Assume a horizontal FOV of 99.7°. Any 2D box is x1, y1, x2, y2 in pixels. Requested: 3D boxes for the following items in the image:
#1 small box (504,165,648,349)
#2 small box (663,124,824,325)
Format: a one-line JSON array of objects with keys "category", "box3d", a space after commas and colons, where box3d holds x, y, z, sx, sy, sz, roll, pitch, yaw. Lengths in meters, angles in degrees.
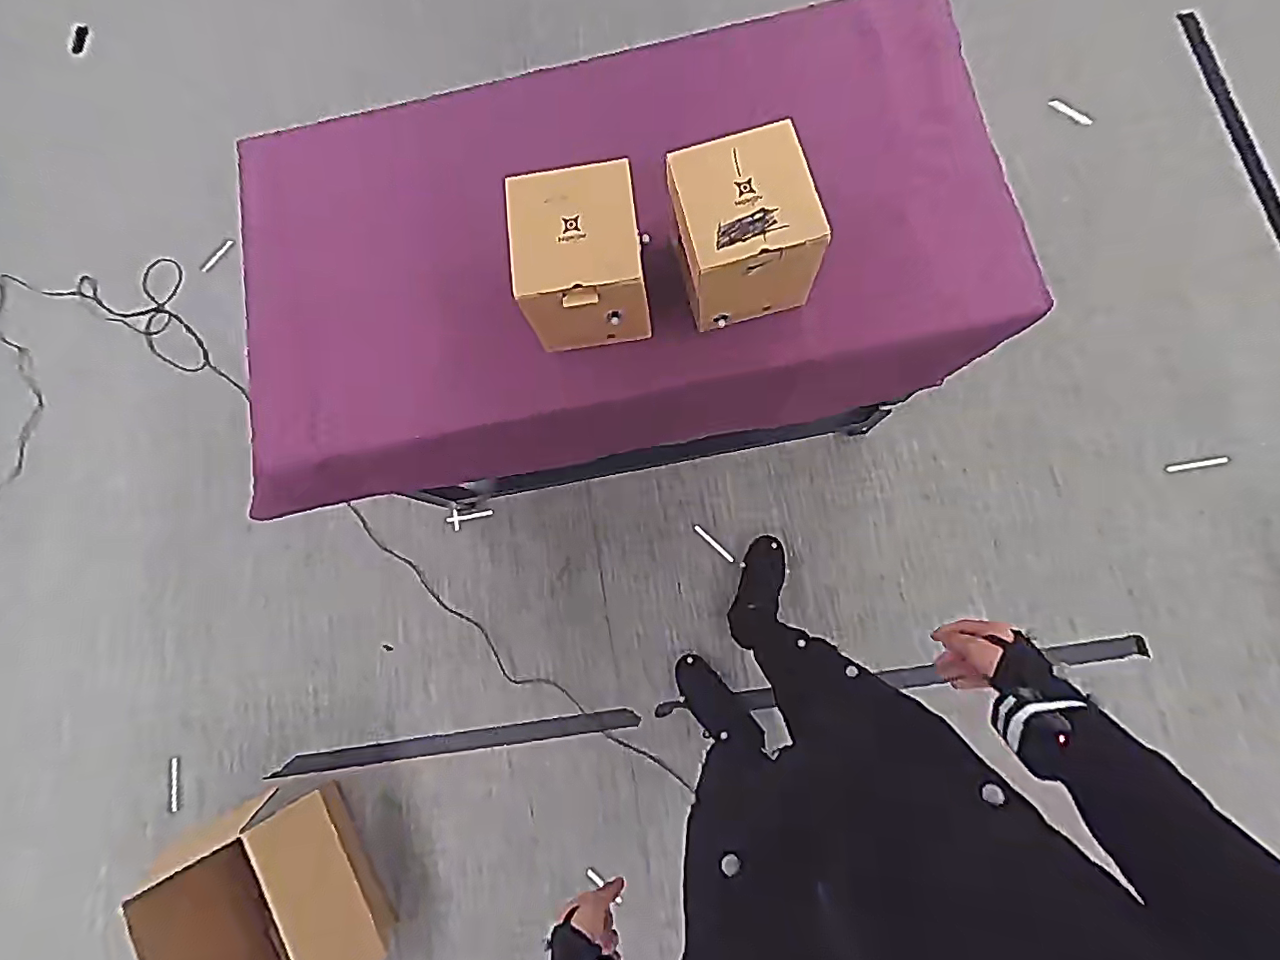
[{"category": "small box", "box3d": [-0.082, -0.298, 0.763, 0.168, 0.176, 0.179, -7, 79, 3]}, {"category": "small box", "box3d": [0.135, -0.334, 0.748, 0.168, 0.176, 0.179, -15, 77, 2]}]
